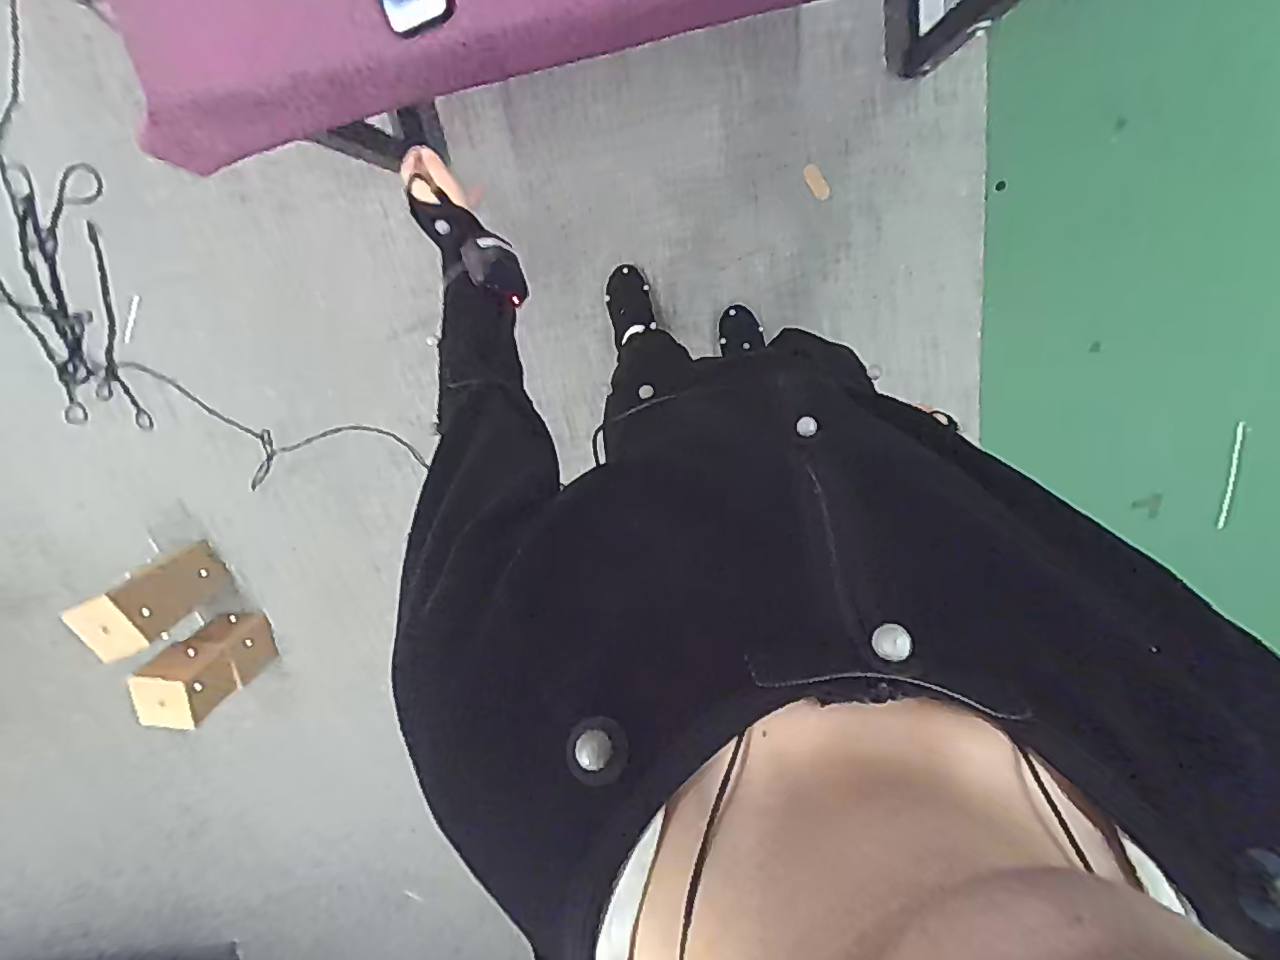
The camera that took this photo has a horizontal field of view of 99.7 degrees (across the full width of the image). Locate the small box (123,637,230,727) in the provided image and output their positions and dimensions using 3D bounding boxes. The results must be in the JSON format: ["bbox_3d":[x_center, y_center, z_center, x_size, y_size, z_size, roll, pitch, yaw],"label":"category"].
[{"bbox_3d":[-1.362,0.595,1.605,0.168,0.176,0.179,7,110,1],"label":"small box"}]

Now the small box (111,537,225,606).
[{"bbox_3d":[-1.435,0.296,1.665,0.179,0.176,0.168,-16,109,10],"label":"small box"}]

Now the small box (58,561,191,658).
[{"bbox_3d":[-1.429,0.359,1.514,0.168,0.176,0.179,-21,109,10],"label":"small box"}]
